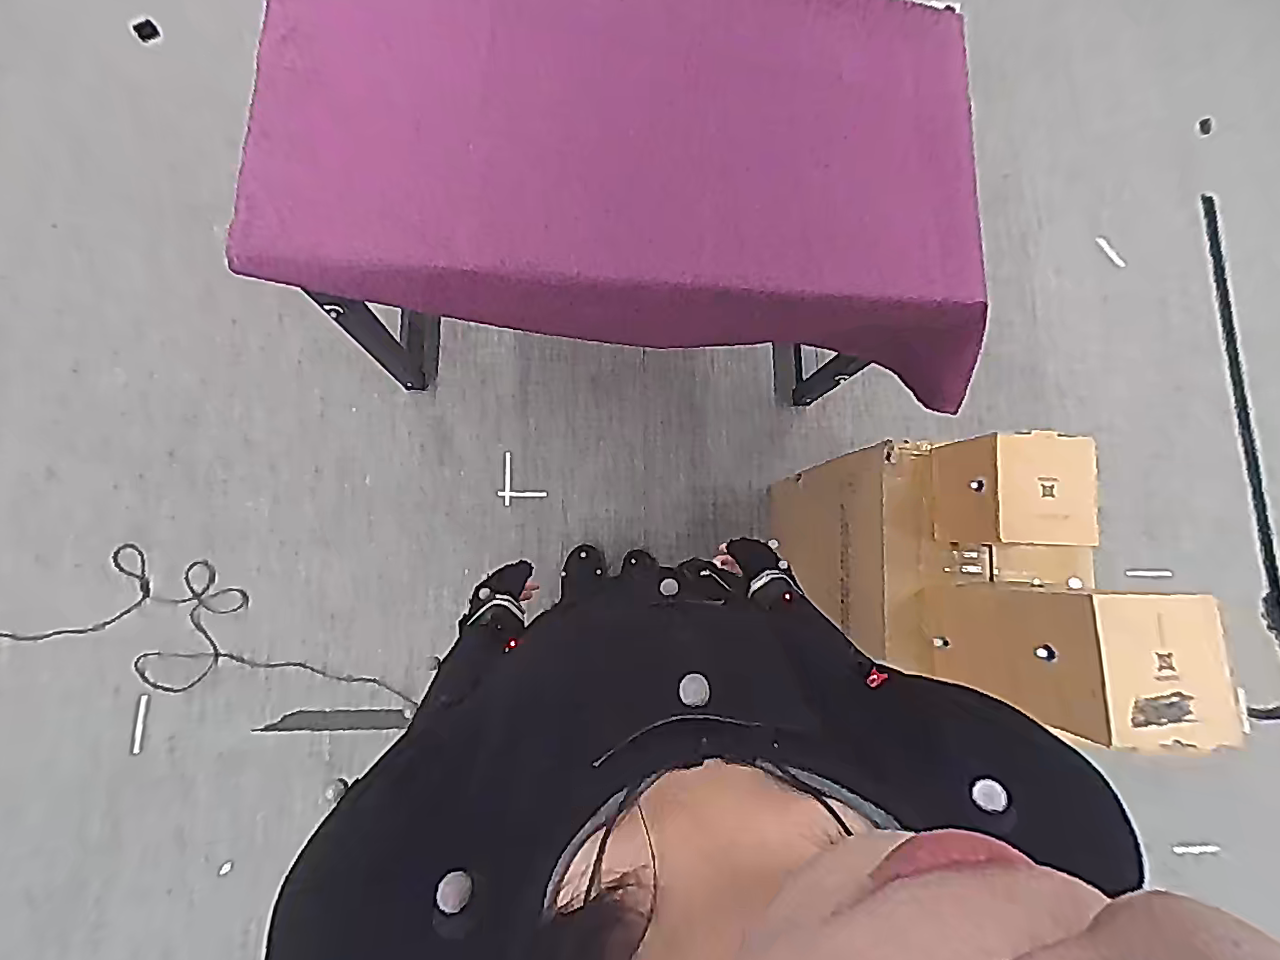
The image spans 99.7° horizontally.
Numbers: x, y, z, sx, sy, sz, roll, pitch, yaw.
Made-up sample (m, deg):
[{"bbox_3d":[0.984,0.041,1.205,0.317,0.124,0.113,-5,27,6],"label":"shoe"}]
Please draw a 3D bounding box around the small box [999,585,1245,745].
[{"bbox_3d":[0.613,0.230,0.712,0.168,0.176,0.179,1,80,-5],"label":"small box"}]

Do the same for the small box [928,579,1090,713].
[{"bbox_3d":[0.600,0.257,0.874,0.168,0.176,0.179,-4,82,-6],"label":"small box"}]
